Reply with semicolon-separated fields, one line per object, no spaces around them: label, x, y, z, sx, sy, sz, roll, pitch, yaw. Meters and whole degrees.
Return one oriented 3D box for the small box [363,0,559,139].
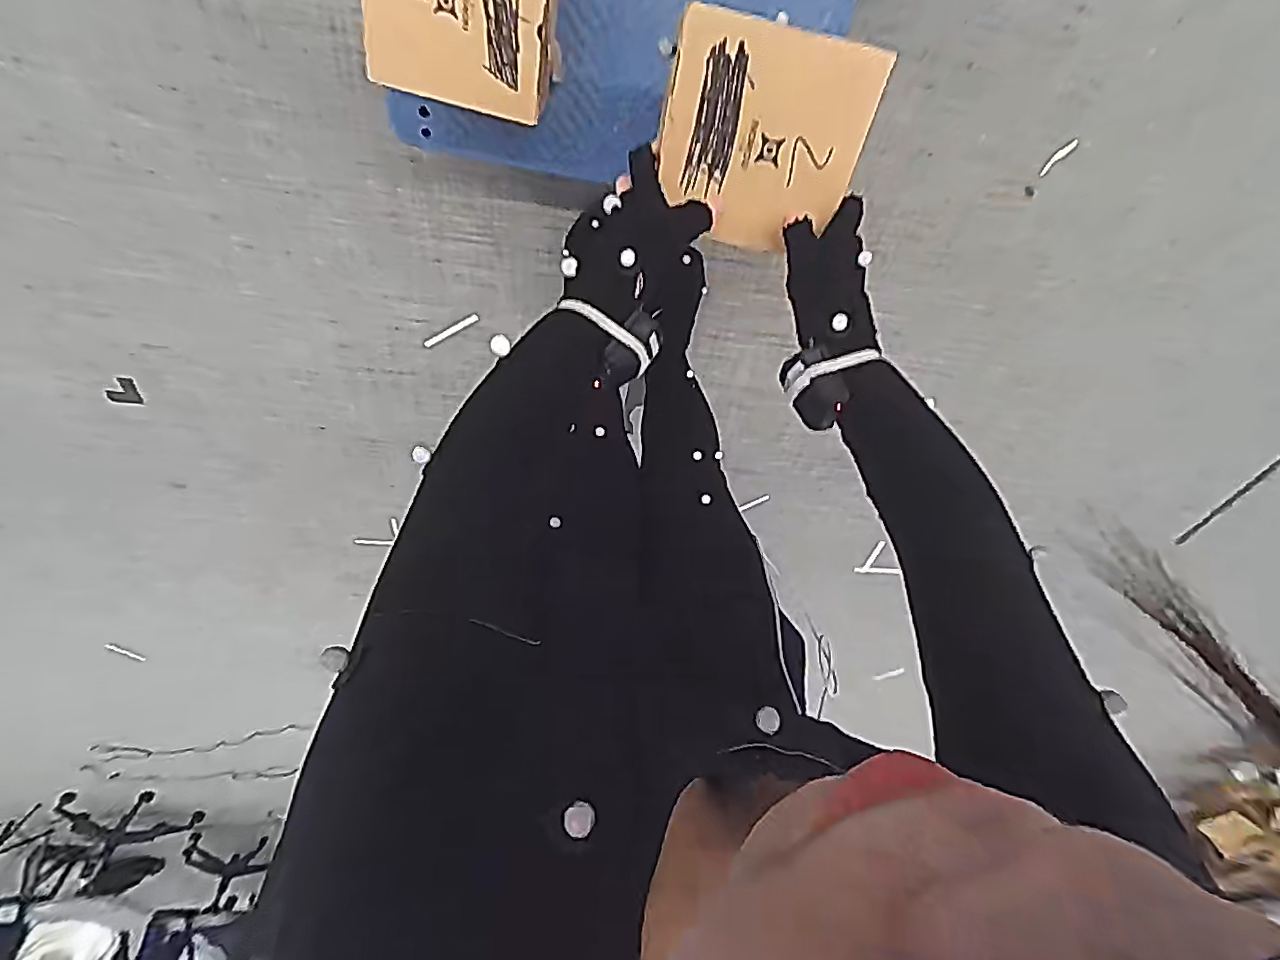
small box;-0.183;-0.502;0.587;0.179;0.176;0.168;9;131;-11
